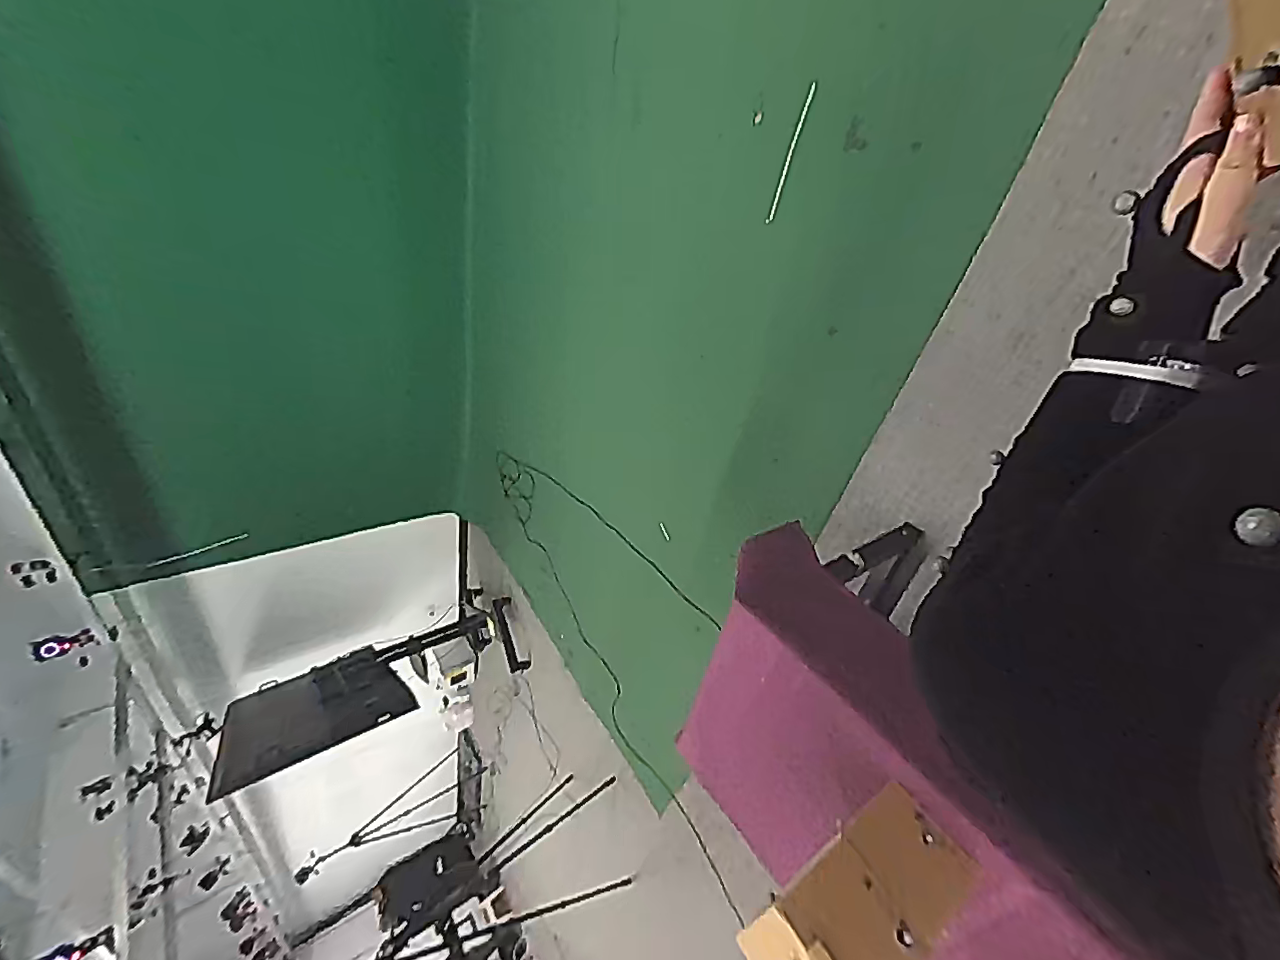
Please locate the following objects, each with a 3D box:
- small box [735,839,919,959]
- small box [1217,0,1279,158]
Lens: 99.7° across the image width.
[{"bbox_3d":[0.278,0.684,0.806,0.168,0.176,0.179,48,137,35],"label":"small box"},{"bbox_3d":[0.404,-0.272,0.247,0.179,0.176,0.168,-6,108,37],"label":"small box"}]
